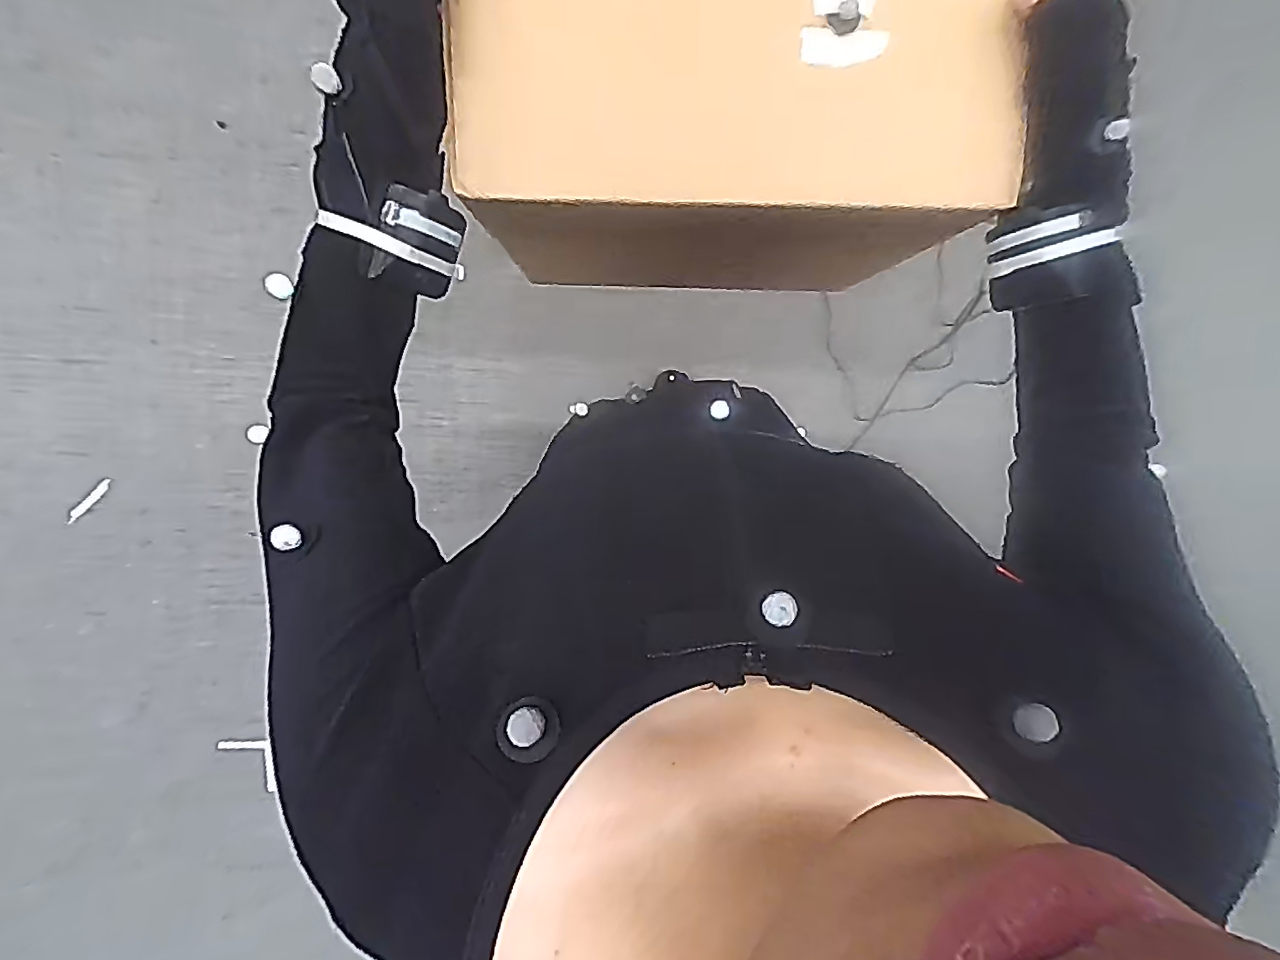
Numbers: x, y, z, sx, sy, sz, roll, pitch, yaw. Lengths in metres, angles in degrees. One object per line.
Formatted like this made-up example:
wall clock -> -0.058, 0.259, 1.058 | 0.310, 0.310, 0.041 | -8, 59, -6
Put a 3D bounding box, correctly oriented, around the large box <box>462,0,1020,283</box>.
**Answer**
large box -> 0.066, -0.384, 0.524 | 0.408, 0.320, 0.320 | 0, 99, -2
